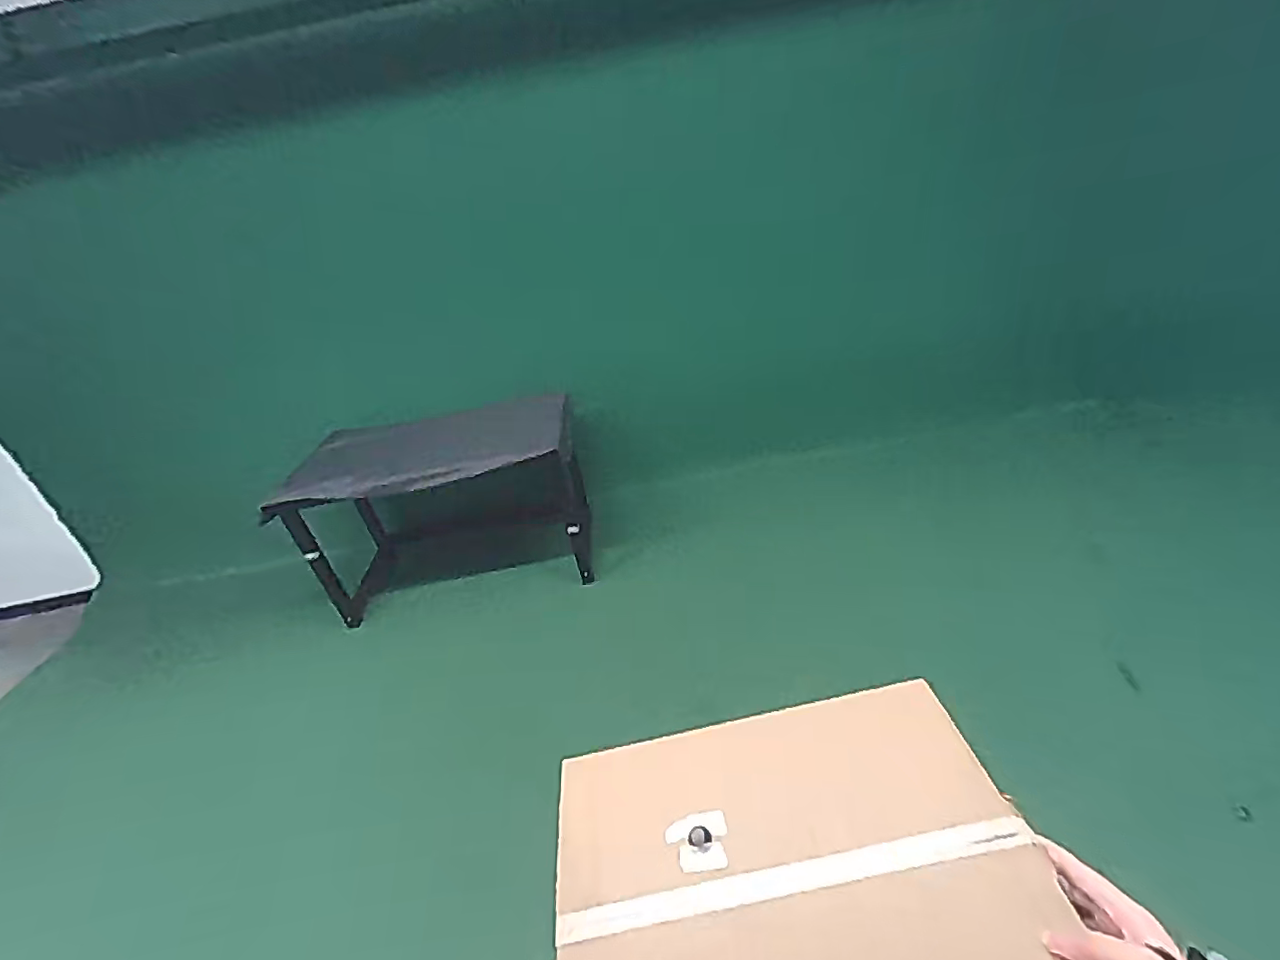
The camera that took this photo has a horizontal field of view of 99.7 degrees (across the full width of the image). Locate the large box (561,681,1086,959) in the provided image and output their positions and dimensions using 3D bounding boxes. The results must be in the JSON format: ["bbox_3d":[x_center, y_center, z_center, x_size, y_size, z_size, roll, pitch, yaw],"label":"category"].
[{"bbox_3d":[0.161,0.470,0.550,0.408,0.320,0.320,-16,31,4],"label":"large box"}]
